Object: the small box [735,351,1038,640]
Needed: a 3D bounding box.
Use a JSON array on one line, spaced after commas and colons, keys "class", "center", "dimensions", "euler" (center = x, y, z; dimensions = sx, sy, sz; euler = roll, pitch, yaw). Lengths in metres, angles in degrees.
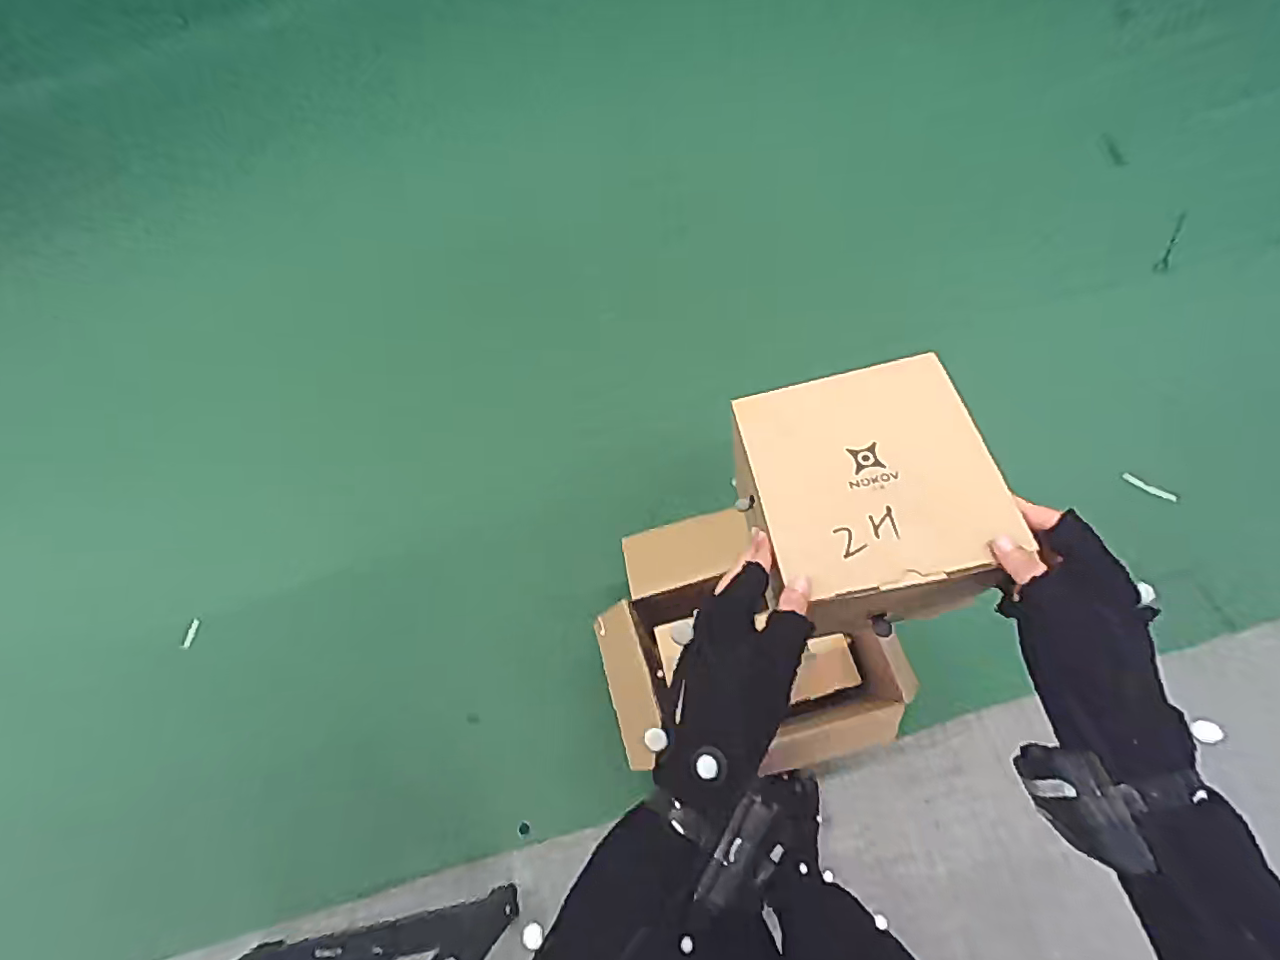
[{"class": "small box", "center": [0.178, 0.024, 0.462], "dimensions": [0.168, 0.176, 0.179], "euler": [-13, 63, 5]}]
